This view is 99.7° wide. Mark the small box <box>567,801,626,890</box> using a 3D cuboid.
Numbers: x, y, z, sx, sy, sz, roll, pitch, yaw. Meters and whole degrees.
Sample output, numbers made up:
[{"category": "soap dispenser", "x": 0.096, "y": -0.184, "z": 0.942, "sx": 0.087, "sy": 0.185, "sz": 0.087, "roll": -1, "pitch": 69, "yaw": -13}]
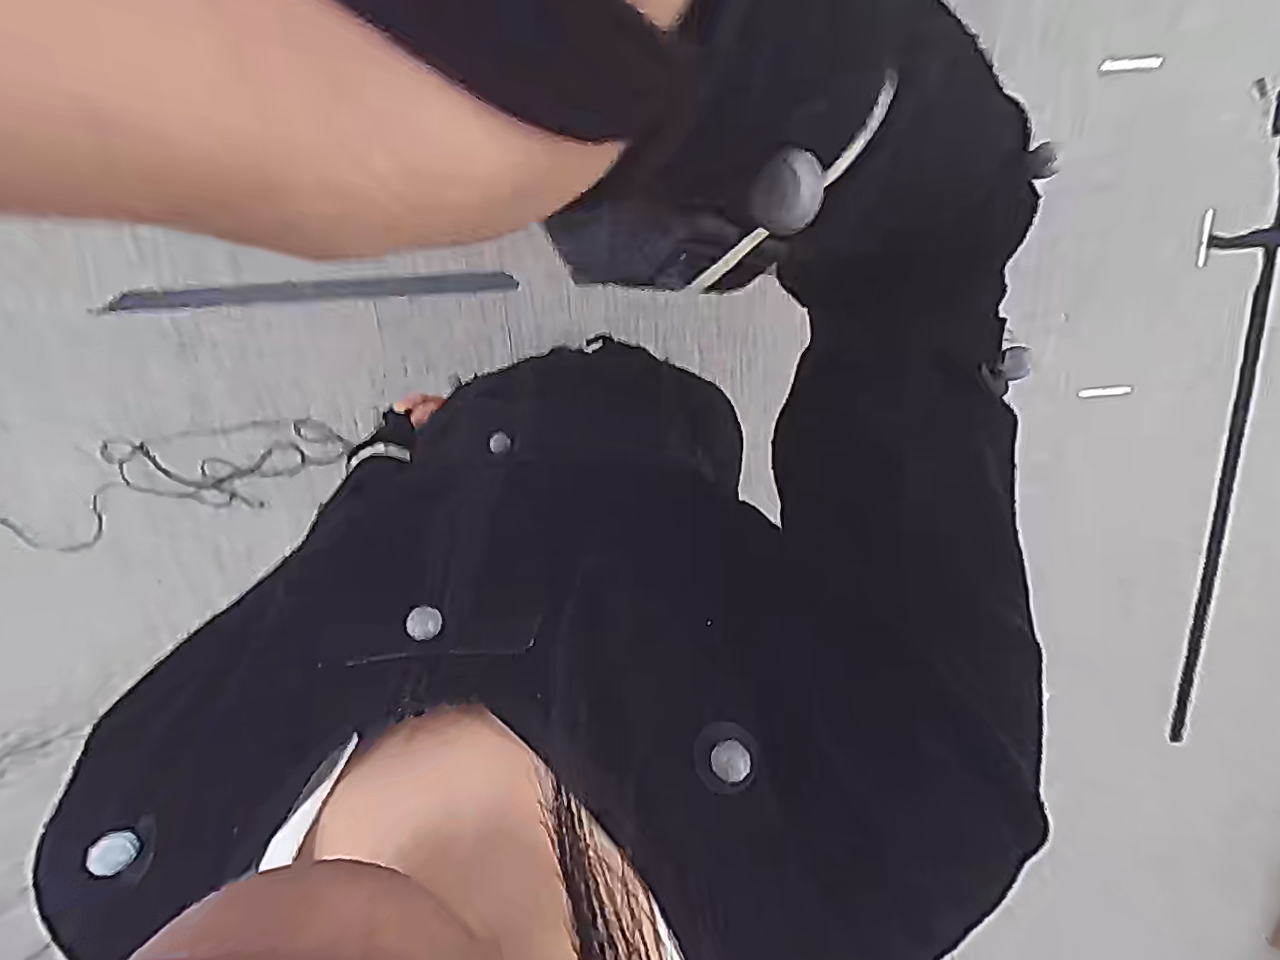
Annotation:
[{"category": "small box", "x": -0.137, "y": 1.142, "z": 1.698, "sx": 0.179, "sy": 0.176, "sz": 0.168, "roll": 0, "pitch": 103, "yaw": -5}]
